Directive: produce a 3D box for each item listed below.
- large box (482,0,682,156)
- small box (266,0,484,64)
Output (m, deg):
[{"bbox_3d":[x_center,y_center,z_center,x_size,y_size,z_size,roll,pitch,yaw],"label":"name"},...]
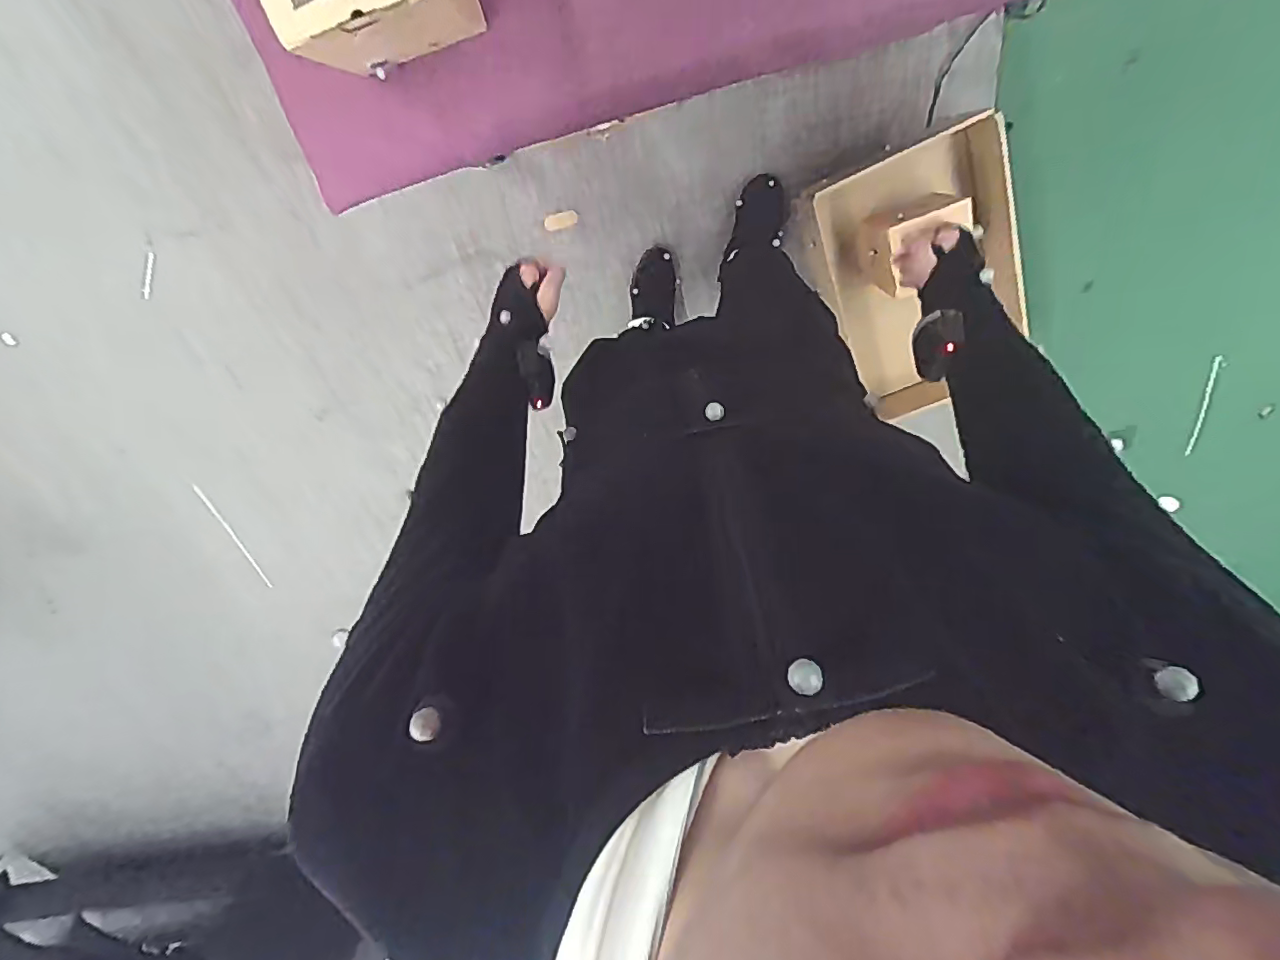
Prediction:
[{"bbox_3d":[-0.114,-0.920,1.074,0.320,0.320,0.408,-13,117,9],"label":"large box"},{"bbox_3d":[-0.277,-0.543,0.533,0.168,0.176,0.179,-13,117,9],"label":"small box"}]
